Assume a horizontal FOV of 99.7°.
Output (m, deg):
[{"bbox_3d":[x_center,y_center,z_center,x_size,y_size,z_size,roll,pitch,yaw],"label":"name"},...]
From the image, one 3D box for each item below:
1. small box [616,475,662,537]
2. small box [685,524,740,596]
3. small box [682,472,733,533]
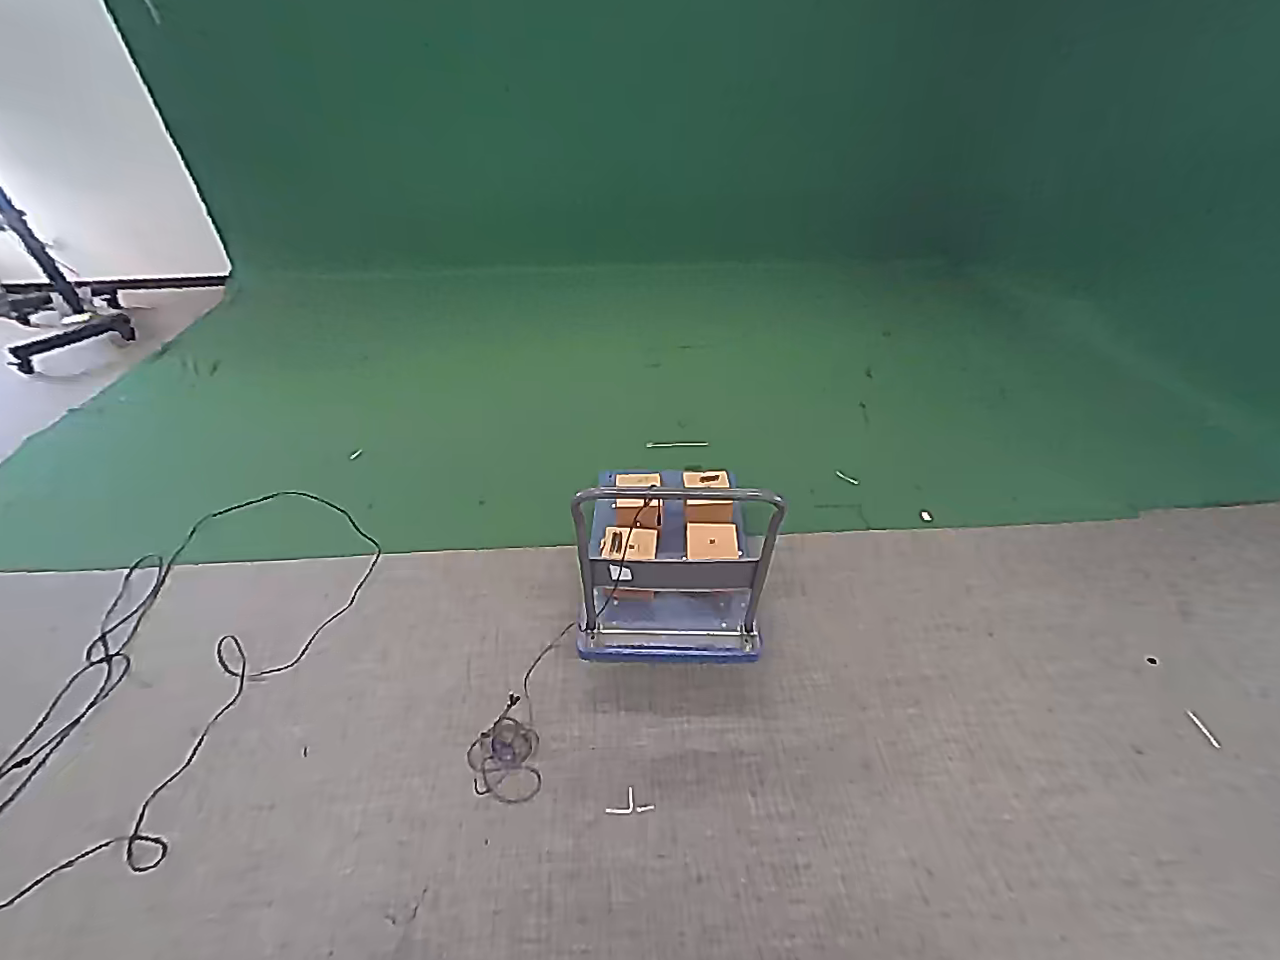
[{"bbox_3d":[-0.004,0.100,2.022,0.168,0.176,0.179,-2,41,-1],"label":"small box"},{"bbox_3d":[0.239,0.269,1.825,0.168,0.176,0.179,1,42,3],"label":"small box"},{"bbox_3d":[0.248,0.090,2.027,0.168,0.176,0.179,-2,42,0],"label":"small box"}]
